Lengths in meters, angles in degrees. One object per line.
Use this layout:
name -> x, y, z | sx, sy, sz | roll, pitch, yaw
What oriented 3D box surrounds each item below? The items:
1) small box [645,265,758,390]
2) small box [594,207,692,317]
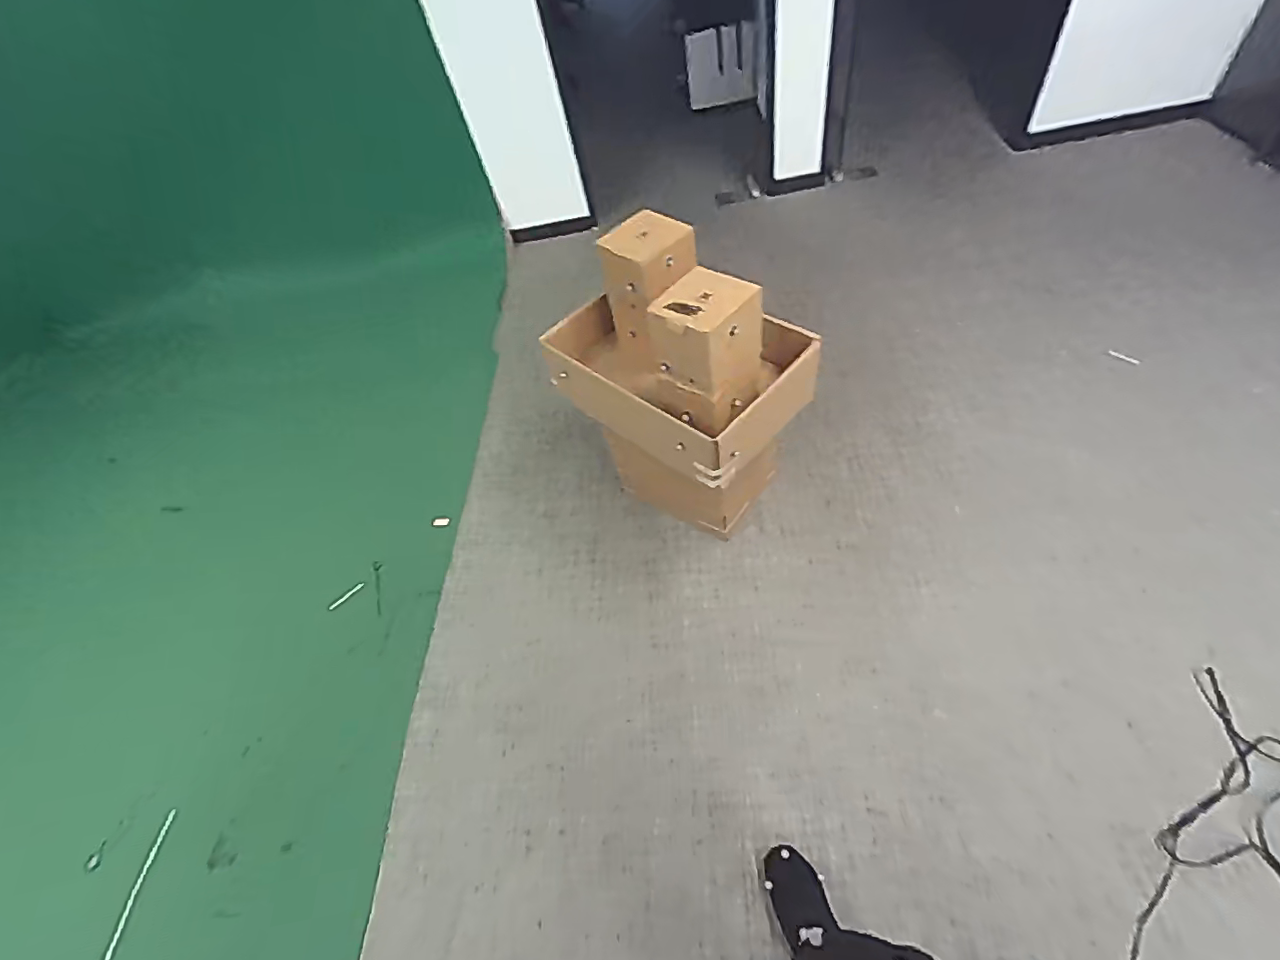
small box -> 0.138, -0.321, 1.151 | 0.168, 0.176, 0.179 | 32, 65, 30
small box -> 0.018, -0.536, 1.340 | 0.179, 0.176, 0.168 | -41, 57, -18
